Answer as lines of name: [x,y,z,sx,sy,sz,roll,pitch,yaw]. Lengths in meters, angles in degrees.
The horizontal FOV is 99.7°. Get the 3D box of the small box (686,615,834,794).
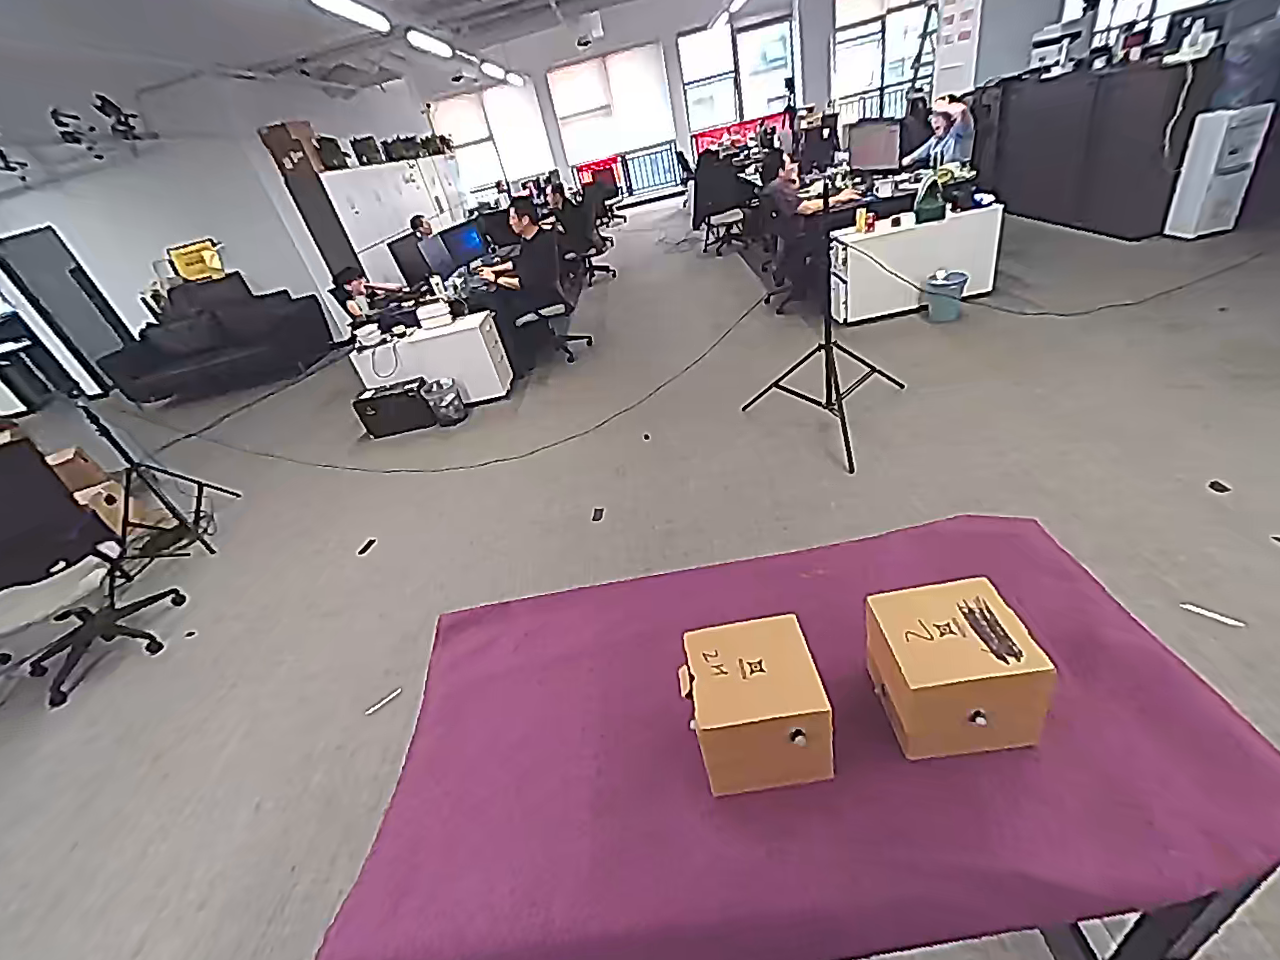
small box: [0.173,0.331,0.798,0.179,0.176,0.168,-12,32,5]
